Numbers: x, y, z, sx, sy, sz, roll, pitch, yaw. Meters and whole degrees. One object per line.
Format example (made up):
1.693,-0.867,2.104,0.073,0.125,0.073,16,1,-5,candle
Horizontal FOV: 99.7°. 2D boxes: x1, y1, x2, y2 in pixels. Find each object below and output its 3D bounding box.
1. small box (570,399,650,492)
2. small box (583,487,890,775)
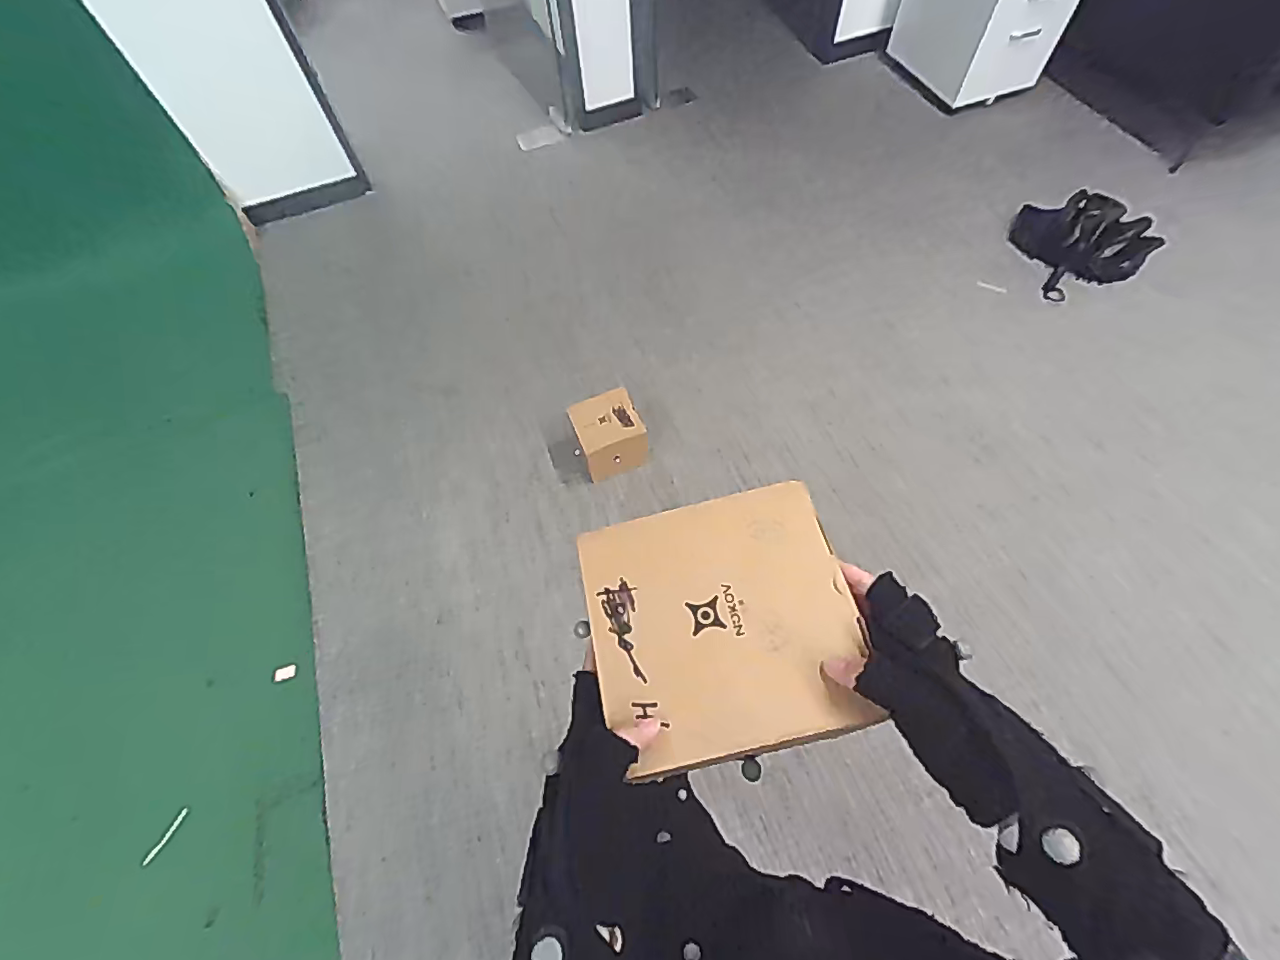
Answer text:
-0.080,-0.095,1.526,0.179,0.176,0.168,-22,62,-7,small box
0.063,0.130,0.436,0.179,0.176,0.168,-13,59,0,small box
